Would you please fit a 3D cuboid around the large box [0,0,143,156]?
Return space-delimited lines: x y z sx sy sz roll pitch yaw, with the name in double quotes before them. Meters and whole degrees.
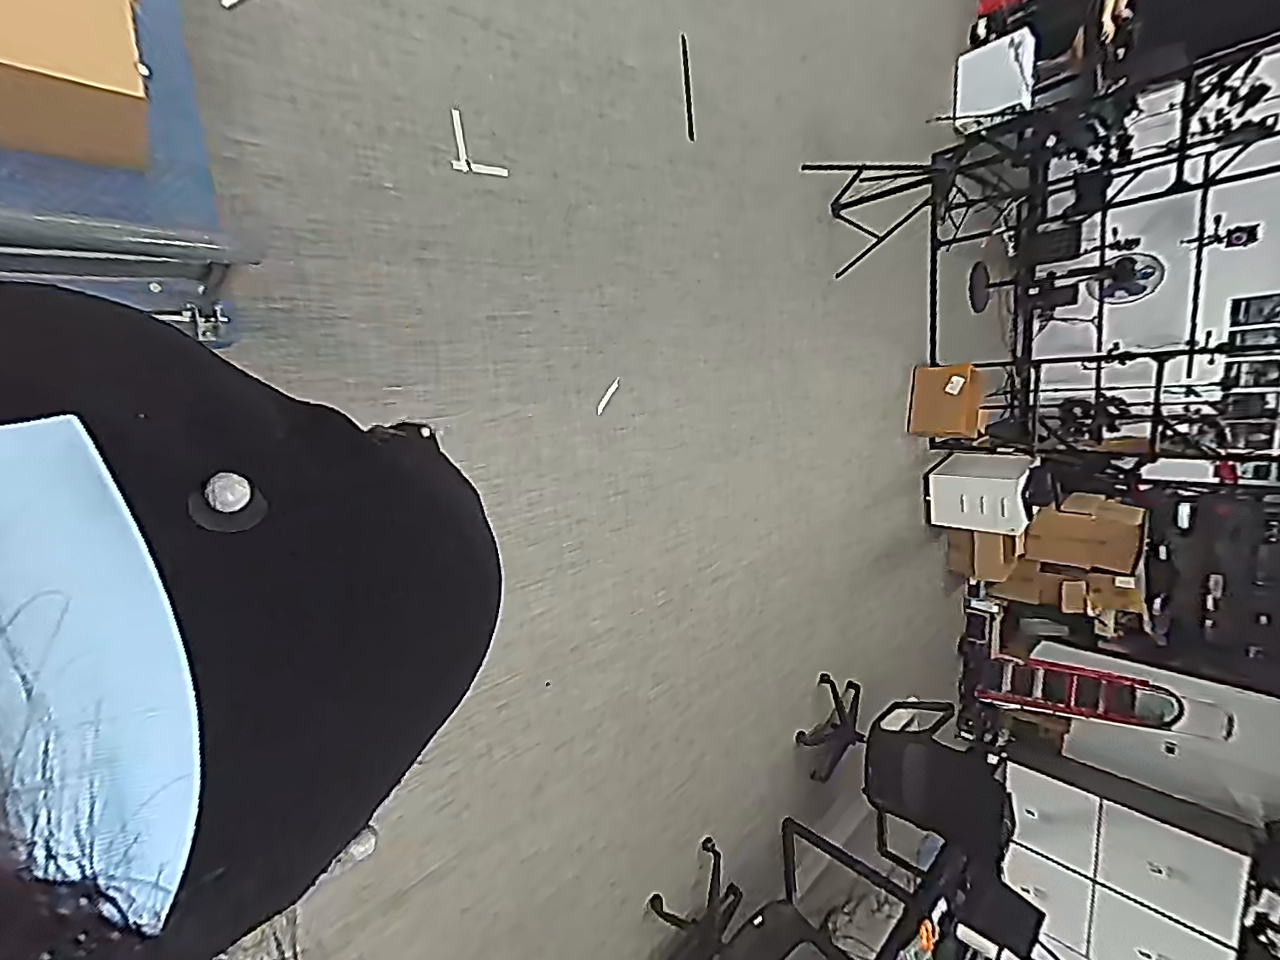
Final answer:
"large box" -0.950 -0.681 0.708 0.408 0.320 0.320 -10 101 -41
